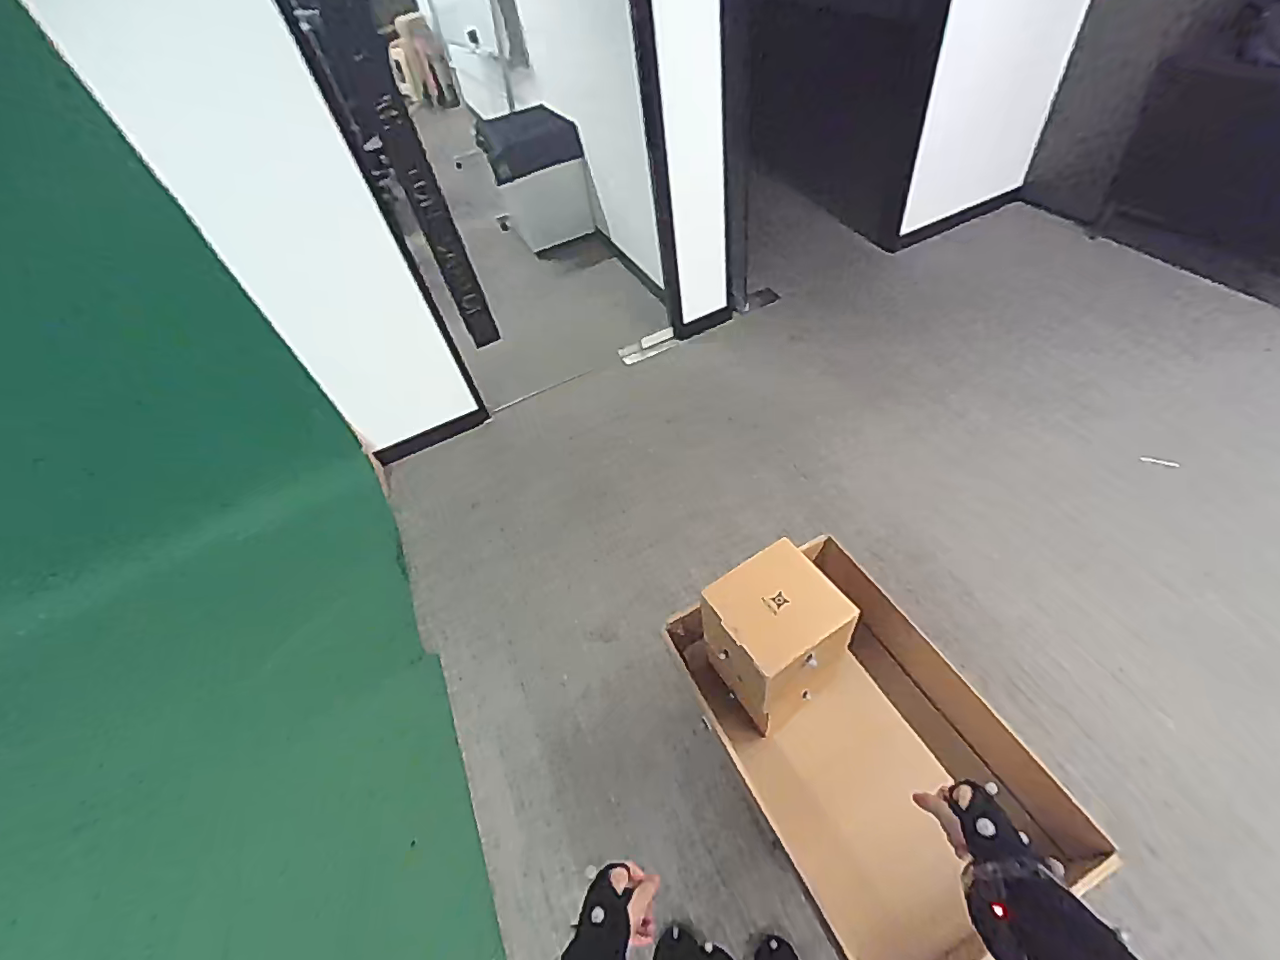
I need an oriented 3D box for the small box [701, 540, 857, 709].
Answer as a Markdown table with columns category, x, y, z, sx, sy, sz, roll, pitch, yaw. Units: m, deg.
| category | x | y | z | sx | sy | sz | roll | pitch | yaw |
| --- | --- | --- | --- | --- | --- | --- | --- | --- | --- |
| small box | 0.217 | 0.236 | 0.879 | 0.179 | 0.176 | 0.168 | -30 | 52 | -13 |
